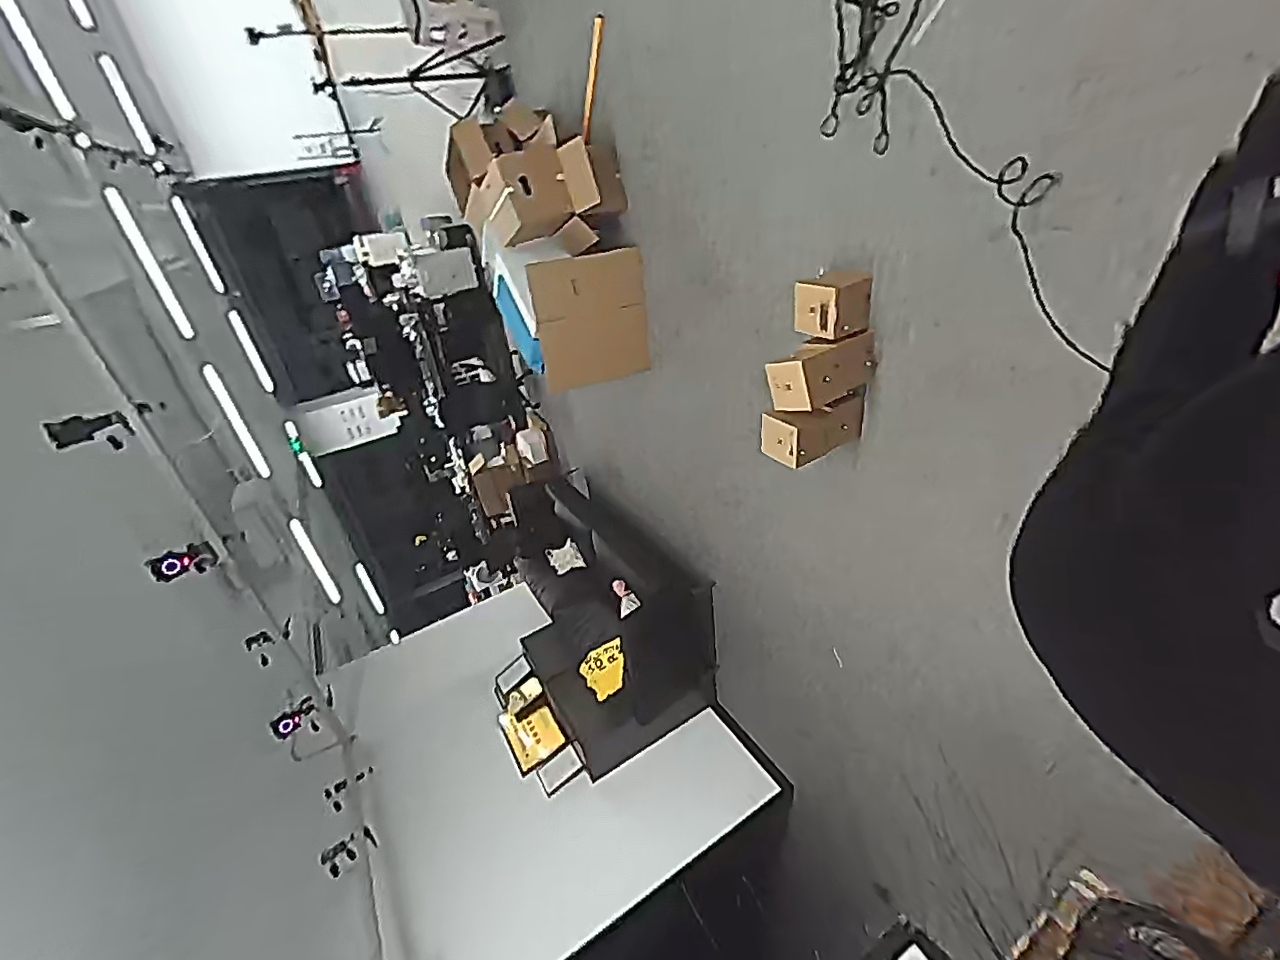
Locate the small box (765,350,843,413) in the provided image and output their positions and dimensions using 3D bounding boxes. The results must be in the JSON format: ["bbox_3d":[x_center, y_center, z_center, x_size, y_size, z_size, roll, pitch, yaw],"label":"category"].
[{"bbox_3d":[0.552,-0.327,1.799,0.179,0.176,0.168,14,125,63],"label":"small box"}]

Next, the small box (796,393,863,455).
[{"bbox_3d":[0.698,-0.222,1.994,0.168,0.176,0.179,37,144,50],"label":"small box"}]
